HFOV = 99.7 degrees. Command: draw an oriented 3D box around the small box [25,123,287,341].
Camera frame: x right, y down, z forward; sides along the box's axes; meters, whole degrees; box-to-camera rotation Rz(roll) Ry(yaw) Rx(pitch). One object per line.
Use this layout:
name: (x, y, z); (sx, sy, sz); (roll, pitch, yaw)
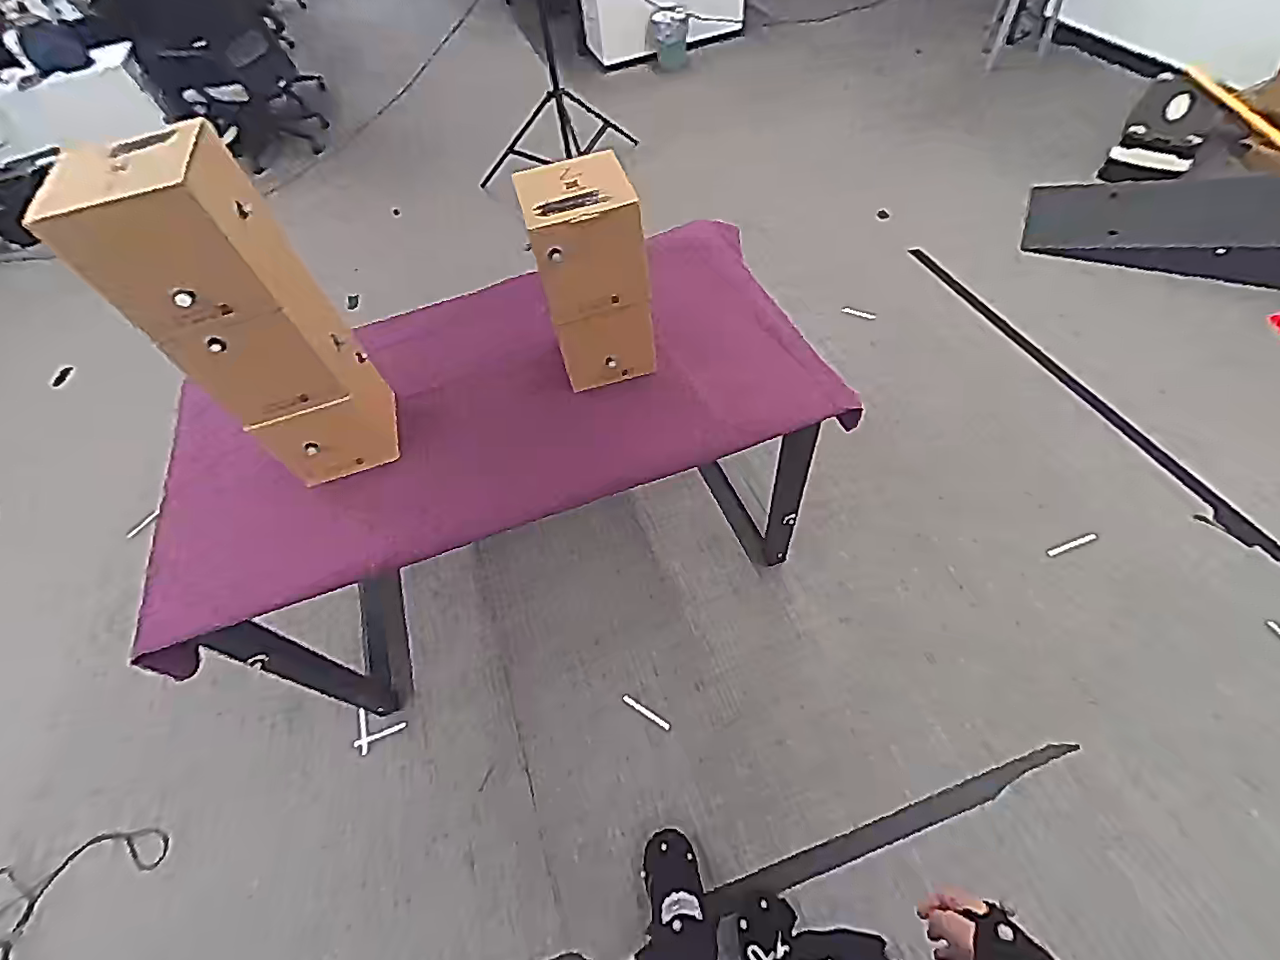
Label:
small box: (-0.576, -0.307, 0.678); (0.168, 0.176, 0.179); (-19, 56, -6)

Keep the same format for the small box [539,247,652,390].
small box: (-0.080, -0.298, 1.009); (0.168, 0.176, 0.179); (-15, 56, -3)

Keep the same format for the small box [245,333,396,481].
small box: (-0.546, -0.118, 0.946); (0.168, 0.176, 0.179); (-19, 55, -6)

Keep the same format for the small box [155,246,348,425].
small box: (-0.565, -0.215, 0.815); (0.168, 0.176, 0.179); (-19, 55, -6)
